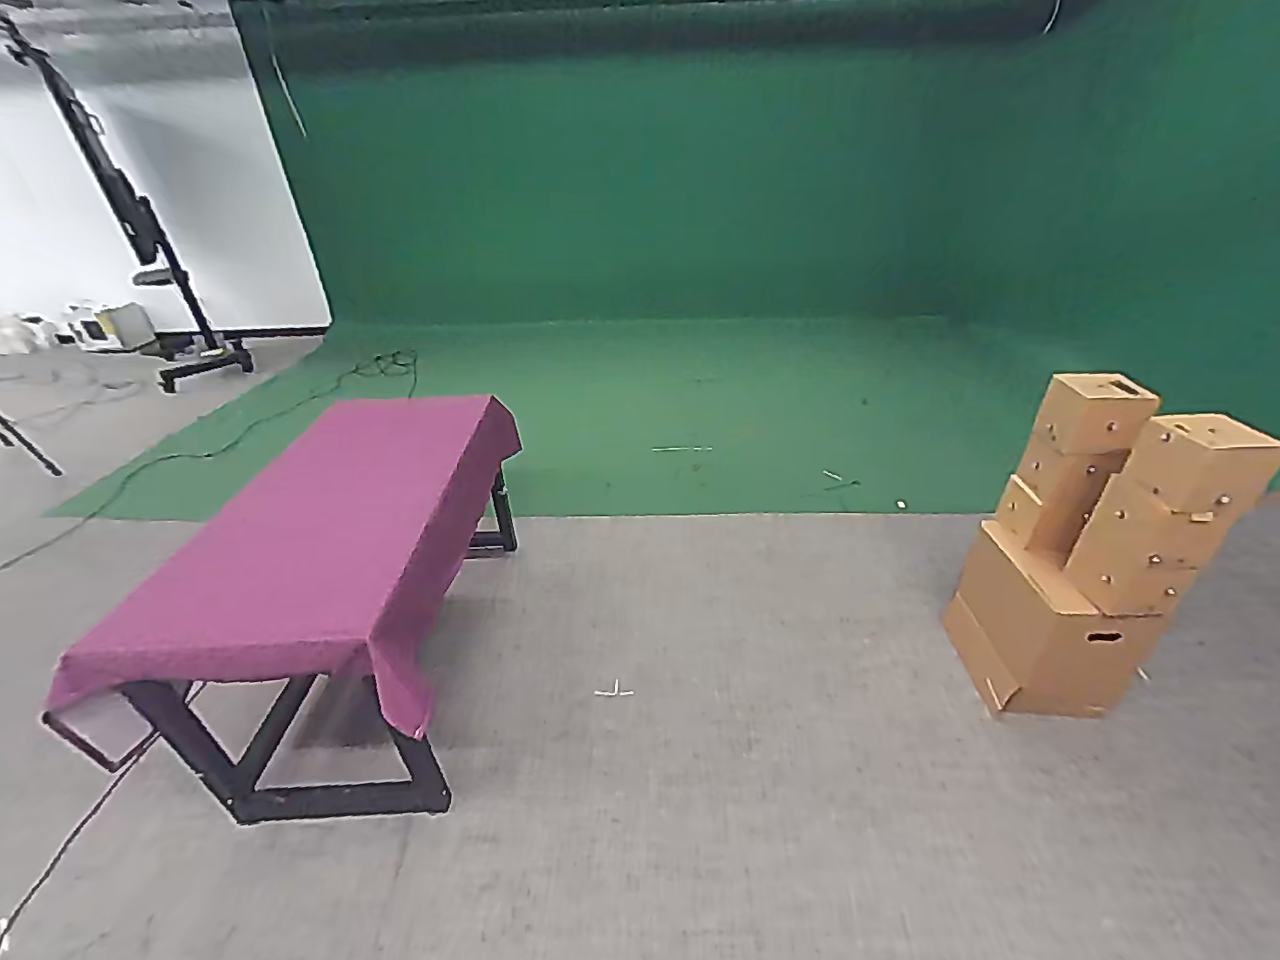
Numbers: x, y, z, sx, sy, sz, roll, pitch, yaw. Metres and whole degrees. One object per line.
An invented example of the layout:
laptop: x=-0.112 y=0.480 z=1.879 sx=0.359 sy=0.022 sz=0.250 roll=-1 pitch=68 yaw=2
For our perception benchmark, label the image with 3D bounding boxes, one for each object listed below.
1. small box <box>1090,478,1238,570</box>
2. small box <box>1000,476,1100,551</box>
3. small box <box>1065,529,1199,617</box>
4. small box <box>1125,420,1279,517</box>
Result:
small box: x=1.285 y=0.109 z=1.343 sx=0.168 sy=0.176 sz=0.179 roll=1 pitch=31 yaw=2
small box: x=1.240 y=0.103 z=1.655 sx=0.179 sy=0.176 sz=0.168 roll=1 pitch=34 yaw=3
small box: x=1.288 y=0.247 z=1.432 sx=0.168 sy=0.176 sz=0.179 roll=0 pitch=31 yaw=1
small box: x=1.297 y=-0.027 z=1.249 sx=0.179 sy=0.176 sz=0.168 roll=0 pitch=31 yaw=0
